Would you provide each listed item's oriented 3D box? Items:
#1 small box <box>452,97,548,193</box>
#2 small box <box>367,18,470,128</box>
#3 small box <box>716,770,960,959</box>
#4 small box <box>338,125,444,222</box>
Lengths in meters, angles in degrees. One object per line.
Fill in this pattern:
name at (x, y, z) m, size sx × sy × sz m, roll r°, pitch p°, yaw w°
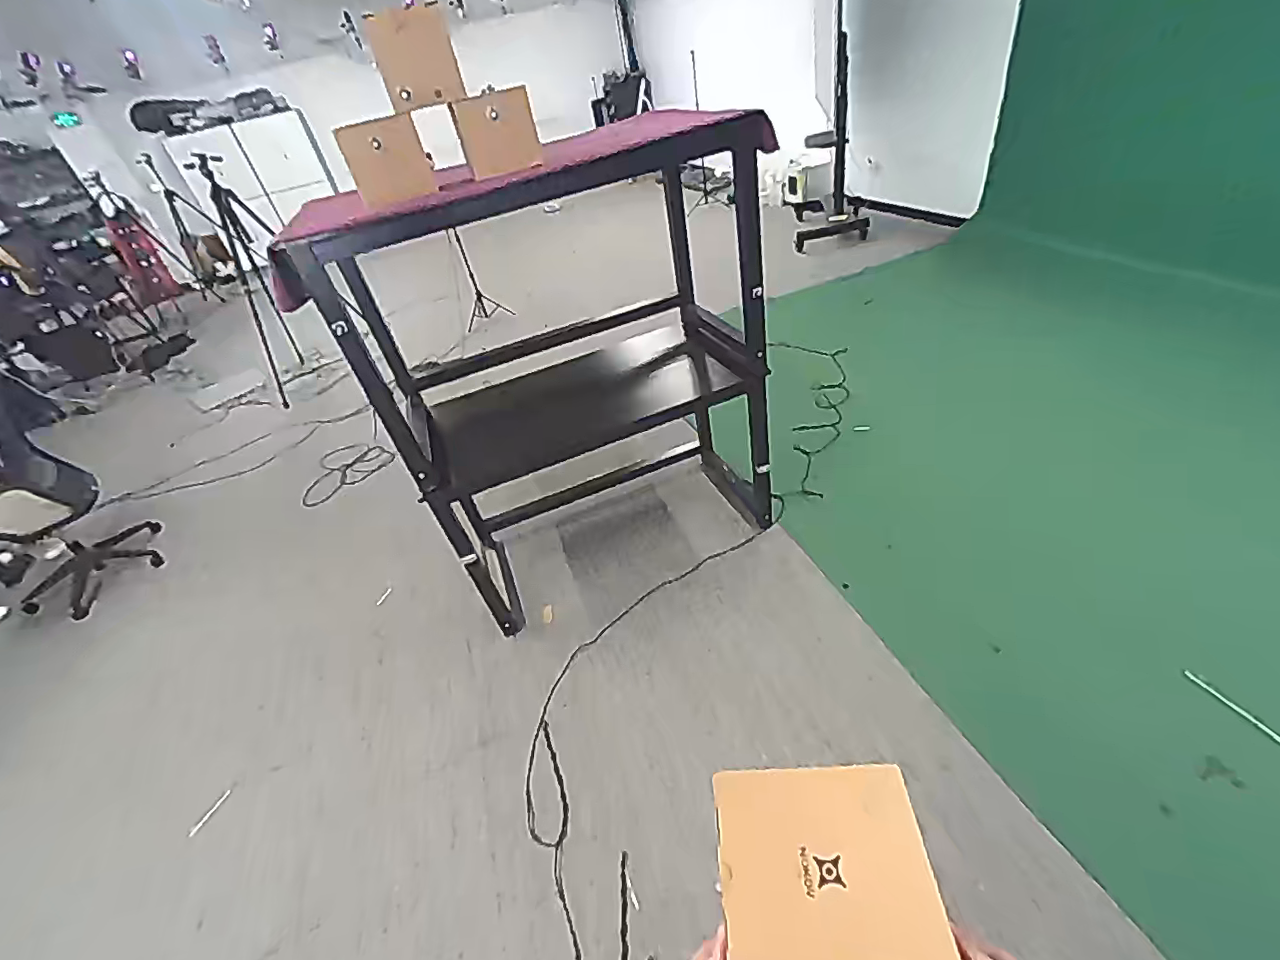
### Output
small box at (-0.348, -0.833, 1.348) m, size 0.179 × 0.176 × 0.168 m, roll -21°, pitch 38°, yaw -9°
small box at (-0.499, -0.924, 1.239) m, size 0.168 × 0.176 × 0.179 m, roll -19°, pitch 37°, yaw -9°
small box at (0.171, 0.393, 0.507) m, size 0.179 × 0.176 × 0.168 m, roll -8°, pitch 40°, yaw 8°
small box at (-0.598, -0.743, 1.310) m, size 0.179 × 0.176 × 0.168 m, roll -22°, pitch 39°, yaw -11°
